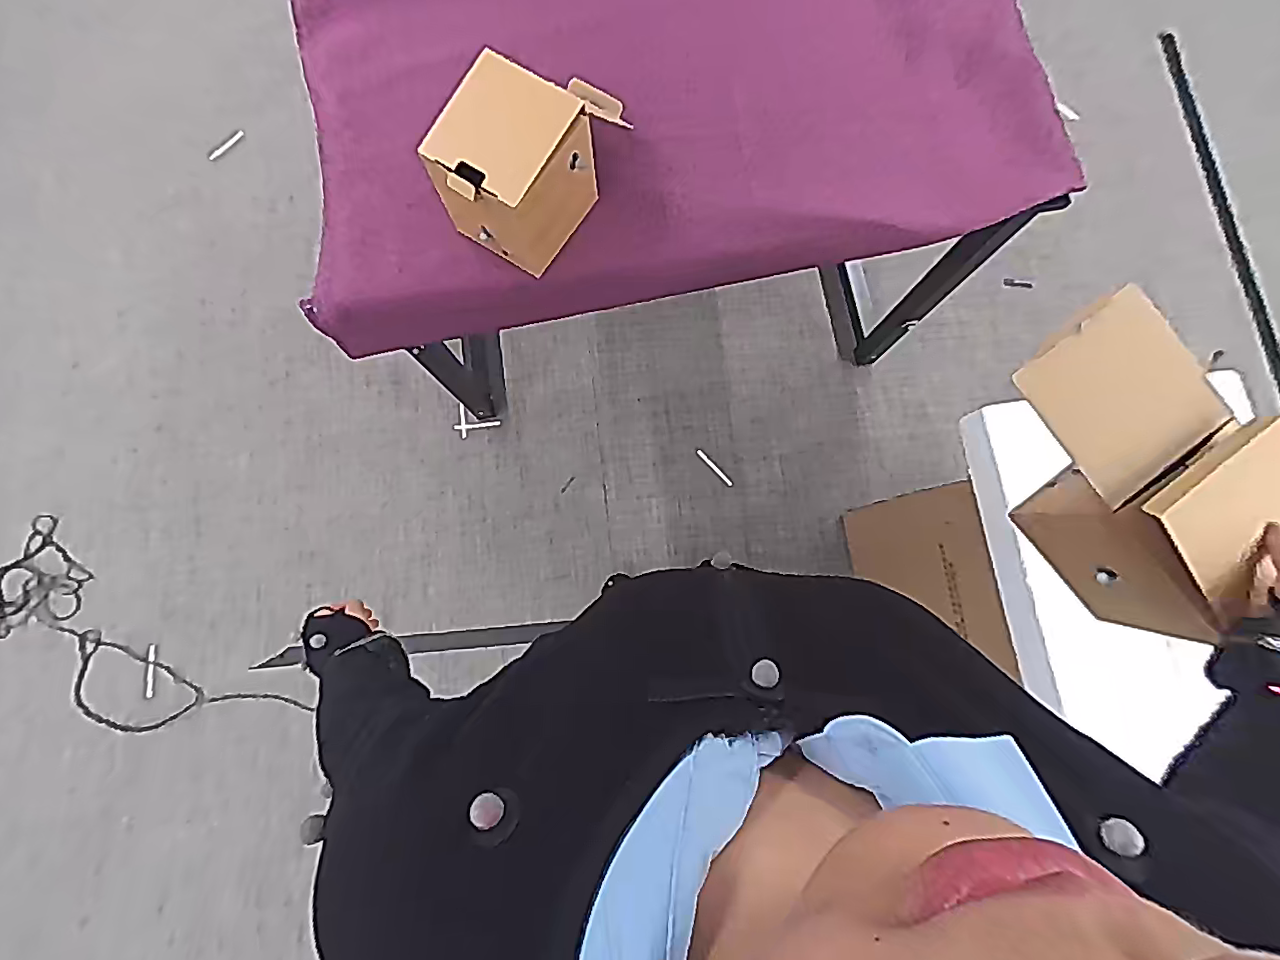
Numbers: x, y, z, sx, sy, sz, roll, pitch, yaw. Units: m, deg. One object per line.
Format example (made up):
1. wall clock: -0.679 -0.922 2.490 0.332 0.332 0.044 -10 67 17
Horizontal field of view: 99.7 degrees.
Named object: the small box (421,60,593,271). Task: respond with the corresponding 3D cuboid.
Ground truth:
1. small box: -0.182 -0.457 0.808 0.168 0.176 0.179 32 81 7
